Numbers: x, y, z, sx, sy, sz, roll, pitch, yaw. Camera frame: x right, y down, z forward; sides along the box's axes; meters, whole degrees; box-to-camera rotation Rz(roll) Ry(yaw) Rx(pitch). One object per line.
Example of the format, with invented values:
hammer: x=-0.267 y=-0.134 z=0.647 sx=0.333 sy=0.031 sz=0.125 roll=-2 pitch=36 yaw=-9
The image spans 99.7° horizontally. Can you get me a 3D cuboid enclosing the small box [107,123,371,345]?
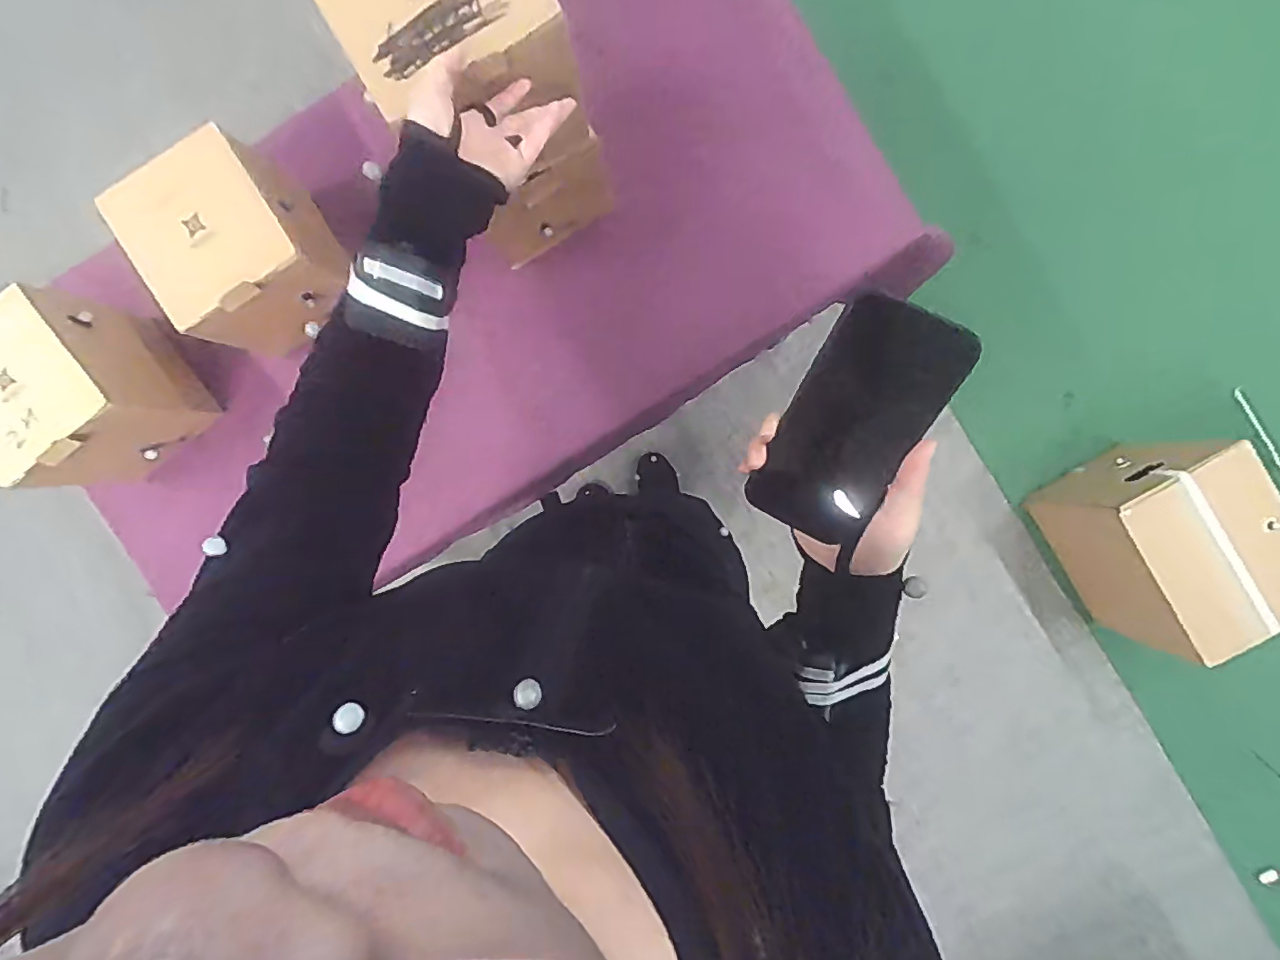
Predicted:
small box: x=-0.485 y=-0.288 z=0.685 sx=0.168 sy=0.176 sz=0.179 roll=-31 pitch=92 yaw=2

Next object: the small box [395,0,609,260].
small box: x=-0.154 y=-0.410 z=0.667 sx=0.168 sy=0.176 sz=0.179 roll=-33 pitch=92 yaw=4

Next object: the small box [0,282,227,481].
small box: x=-0.706 y=-0.116 z=0.702 sx=0.168 sy=0.176 sz=0.179 roll=-37 pitch=92 yaw=4
